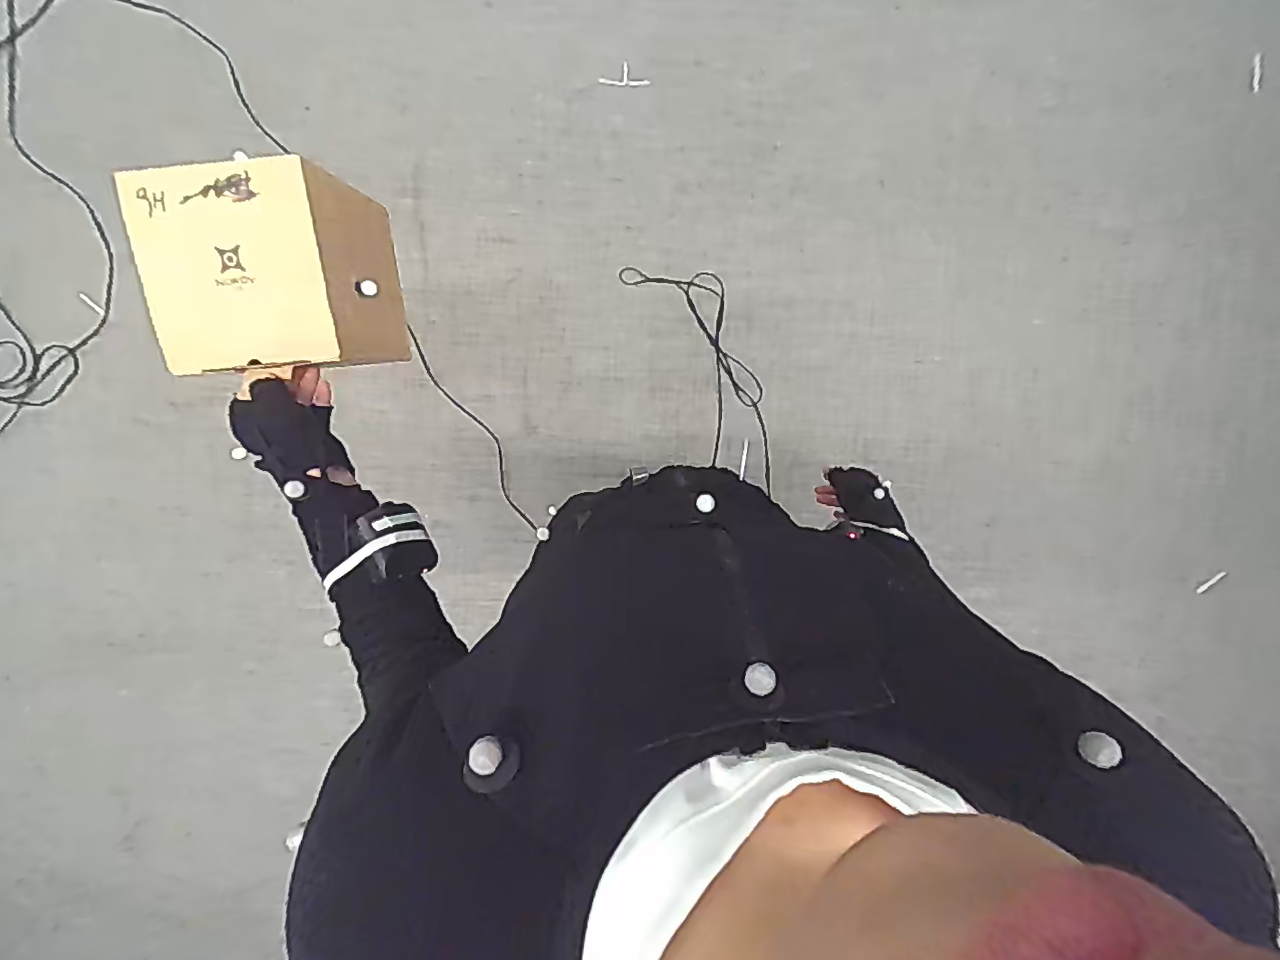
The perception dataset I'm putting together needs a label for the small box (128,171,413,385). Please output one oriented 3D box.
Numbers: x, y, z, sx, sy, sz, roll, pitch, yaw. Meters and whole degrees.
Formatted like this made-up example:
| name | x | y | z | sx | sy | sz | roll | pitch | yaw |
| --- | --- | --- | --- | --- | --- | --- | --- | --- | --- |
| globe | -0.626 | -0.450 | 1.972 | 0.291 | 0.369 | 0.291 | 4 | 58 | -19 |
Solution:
| name | x | y | z | sx | sy | sz | roll | pitch | yaw |
| --- | --- | --- | --- | --- | --- | --- | --- | --- | --- |
| small box | -0.362 | -0.201 | 0.570 | 0.168 | 0.176 | 0.179 | -5 | 104 | 1 |
